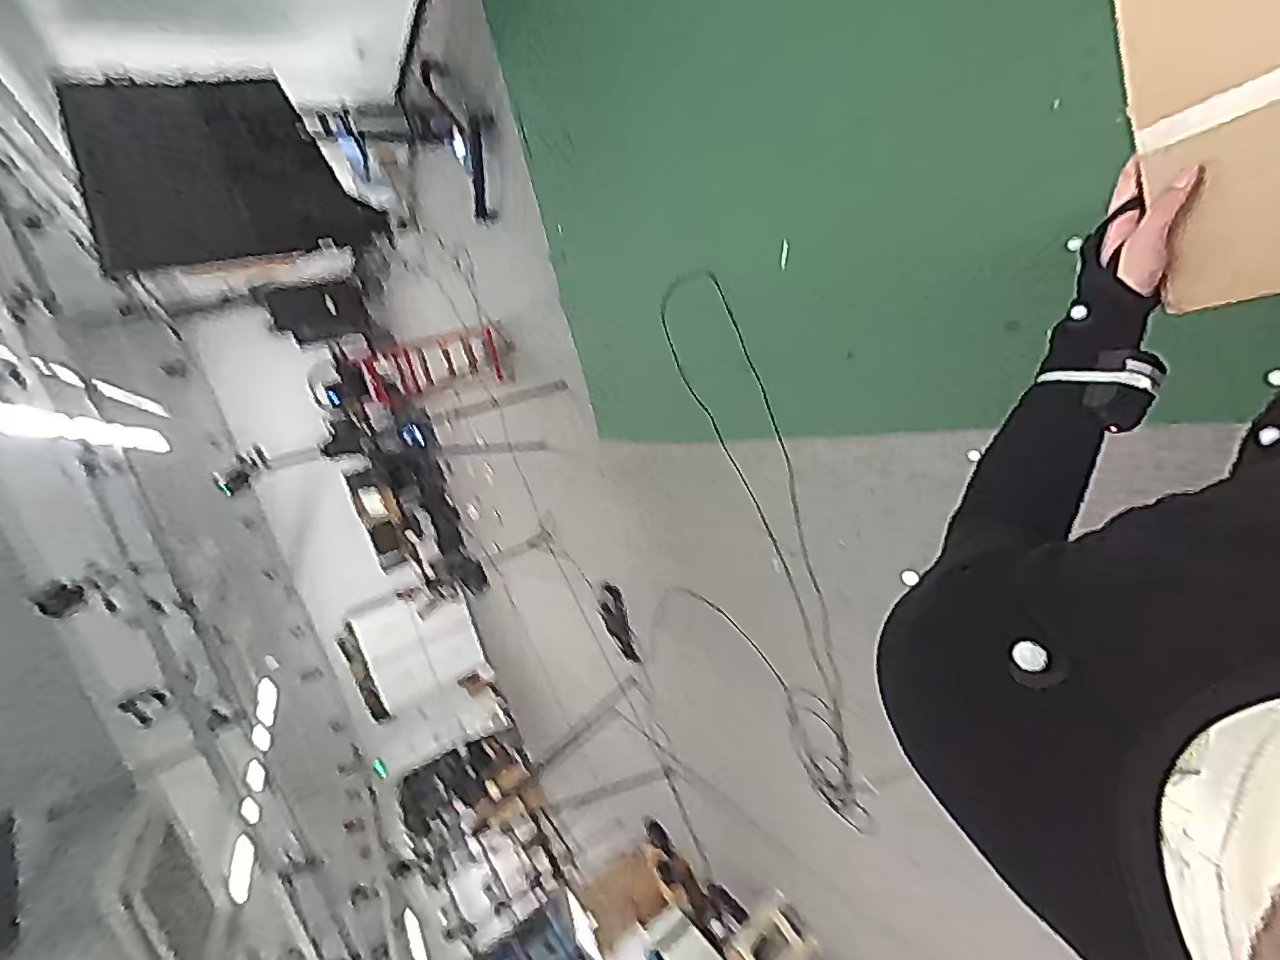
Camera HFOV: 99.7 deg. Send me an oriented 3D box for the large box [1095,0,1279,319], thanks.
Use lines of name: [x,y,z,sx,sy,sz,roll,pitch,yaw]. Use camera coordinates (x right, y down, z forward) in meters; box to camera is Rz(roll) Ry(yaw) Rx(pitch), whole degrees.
large box: [0.674,-0.351,0.419,0.408,0.320,0.320,-8,100,56]
